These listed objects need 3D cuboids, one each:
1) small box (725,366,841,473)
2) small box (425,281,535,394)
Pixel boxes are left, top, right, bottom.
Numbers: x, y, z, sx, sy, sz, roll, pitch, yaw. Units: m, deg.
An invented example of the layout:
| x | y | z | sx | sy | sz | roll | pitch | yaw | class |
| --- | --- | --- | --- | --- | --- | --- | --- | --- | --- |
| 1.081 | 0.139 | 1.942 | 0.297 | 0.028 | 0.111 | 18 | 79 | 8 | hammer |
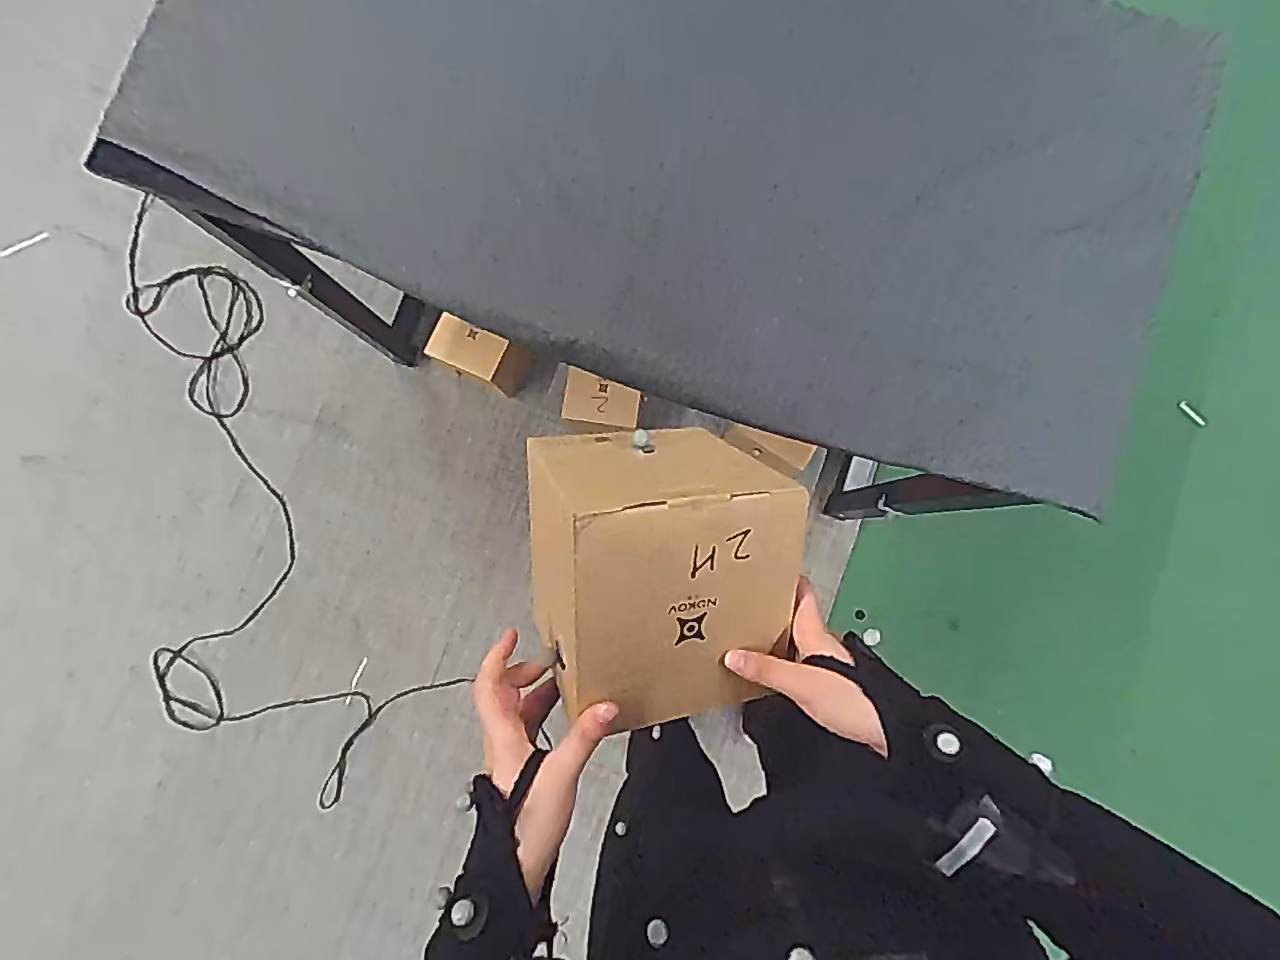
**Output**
| x | y | z | sx | sy | sz | roll | pitch | yaw | class |
| --- | --- | --- | --- | --- | --- | --- | --- | --- | --- |
| 0.317 | -0.127 | 1.240 | 0.179 | 0.176 | 0.168 | 33 | 86 | 1 | small box |
| -0.362 | -0.322 | 1.264 | 0.168 | 0.176 | 0.179 | 24 | 85 | 3 | small box |
